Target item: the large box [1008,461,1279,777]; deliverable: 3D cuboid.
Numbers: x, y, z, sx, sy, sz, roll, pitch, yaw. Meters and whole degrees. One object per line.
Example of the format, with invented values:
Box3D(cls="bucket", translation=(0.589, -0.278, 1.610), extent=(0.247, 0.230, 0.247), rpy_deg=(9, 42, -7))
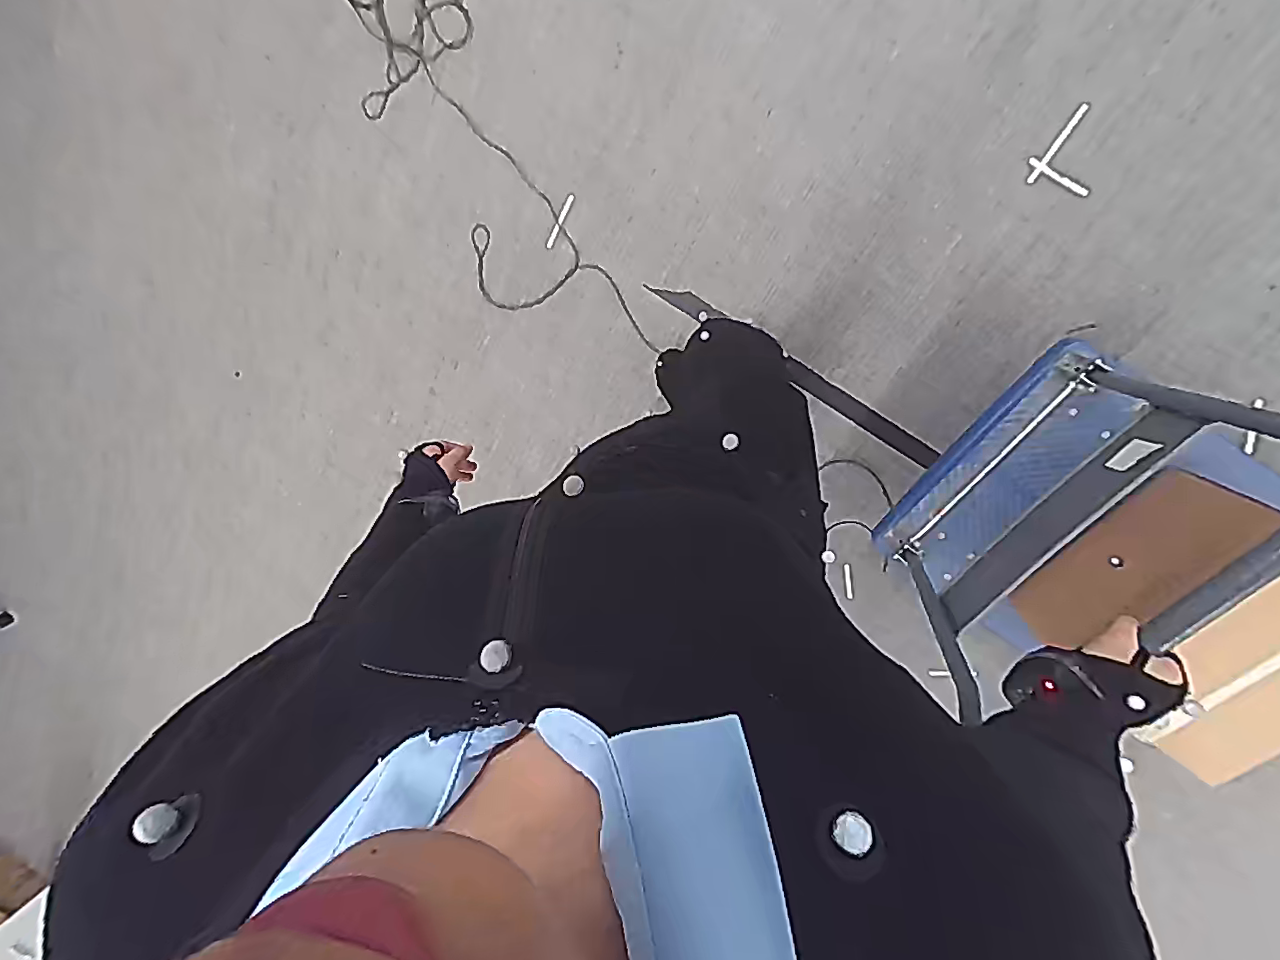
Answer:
Box3D(cls="large box", translation=(1.013, 0.238, 1.004), extent=(0.320, 0.320, 0.408), rpy_deg=(37, 112, 0))
